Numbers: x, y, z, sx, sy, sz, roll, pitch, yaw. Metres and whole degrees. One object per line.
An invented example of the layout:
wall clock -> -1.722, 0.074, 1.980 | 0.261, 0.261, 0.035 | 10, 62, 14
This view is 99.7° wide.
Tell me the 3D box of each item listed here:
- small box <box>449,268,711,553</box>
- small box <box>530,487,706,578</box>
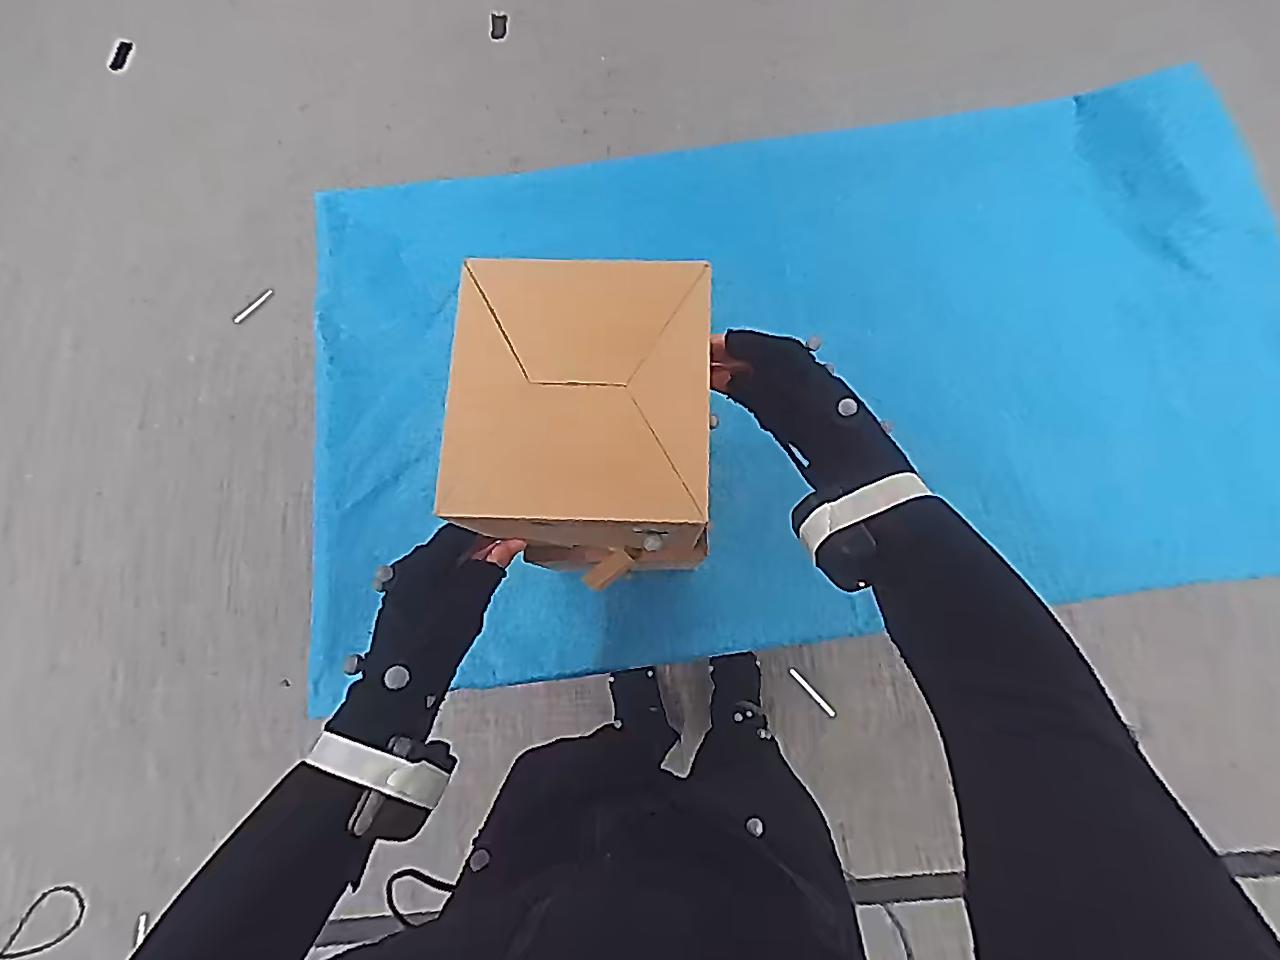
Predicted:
small box -> -0.035, -0.039, 0.423 | 0.168, 0.176, 0.179 | 2, 78, 2
small box -> -0.020, 0.009, 0.581 | 0.168, 0.176, 0.179 | -2, 77, 1
